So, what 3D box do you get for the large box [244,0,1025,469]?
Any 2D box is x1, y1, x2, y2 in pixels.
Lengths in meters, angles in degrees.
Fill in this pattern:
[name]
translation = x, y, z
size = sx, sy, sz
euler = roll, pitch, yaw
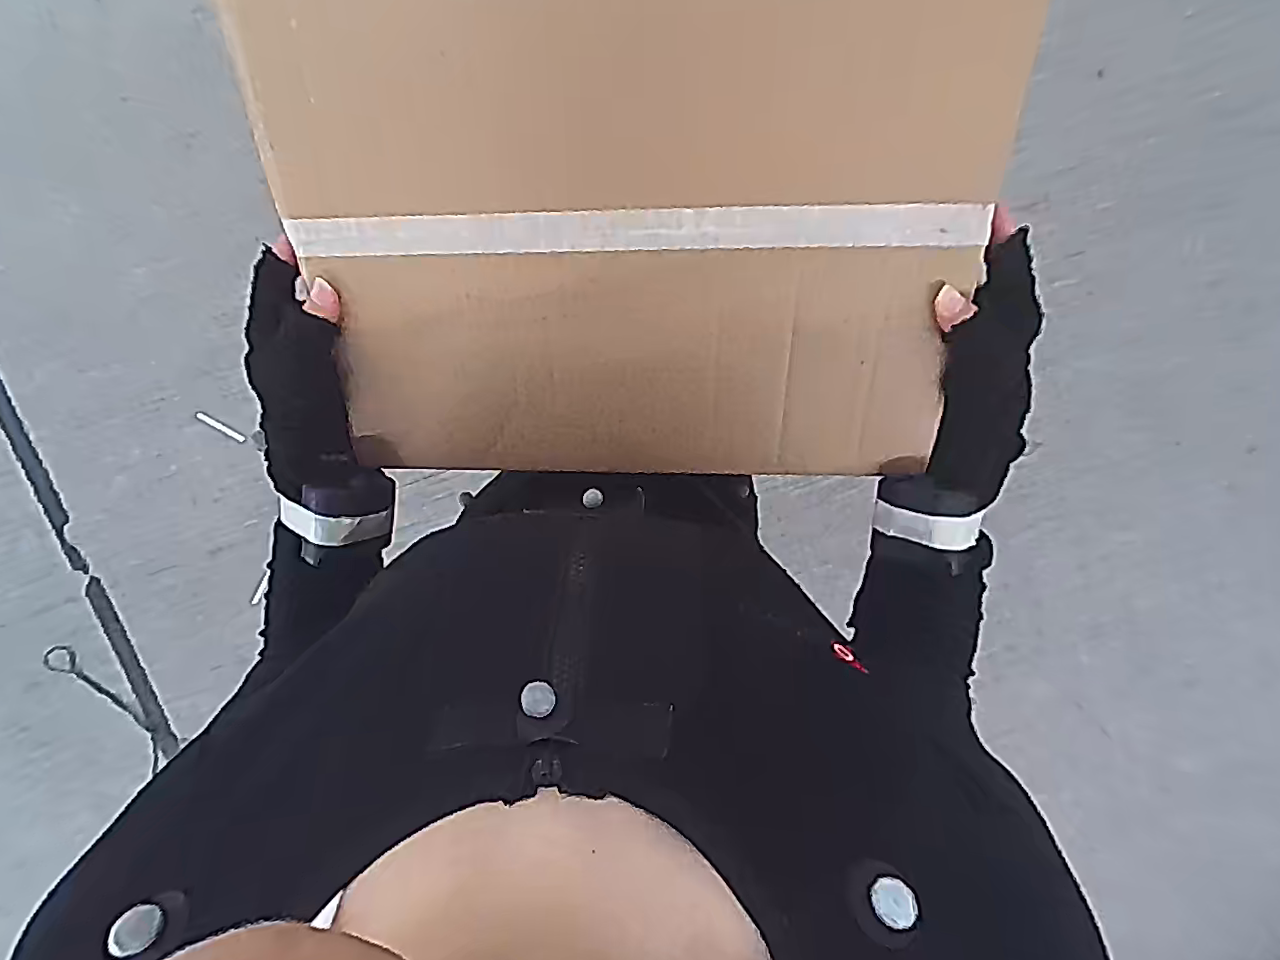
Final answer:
[large box]
translation = 0.001, -0.215, 0.456
size = 0.408, 0.320, 0.320
euler = 0, 120, 3
